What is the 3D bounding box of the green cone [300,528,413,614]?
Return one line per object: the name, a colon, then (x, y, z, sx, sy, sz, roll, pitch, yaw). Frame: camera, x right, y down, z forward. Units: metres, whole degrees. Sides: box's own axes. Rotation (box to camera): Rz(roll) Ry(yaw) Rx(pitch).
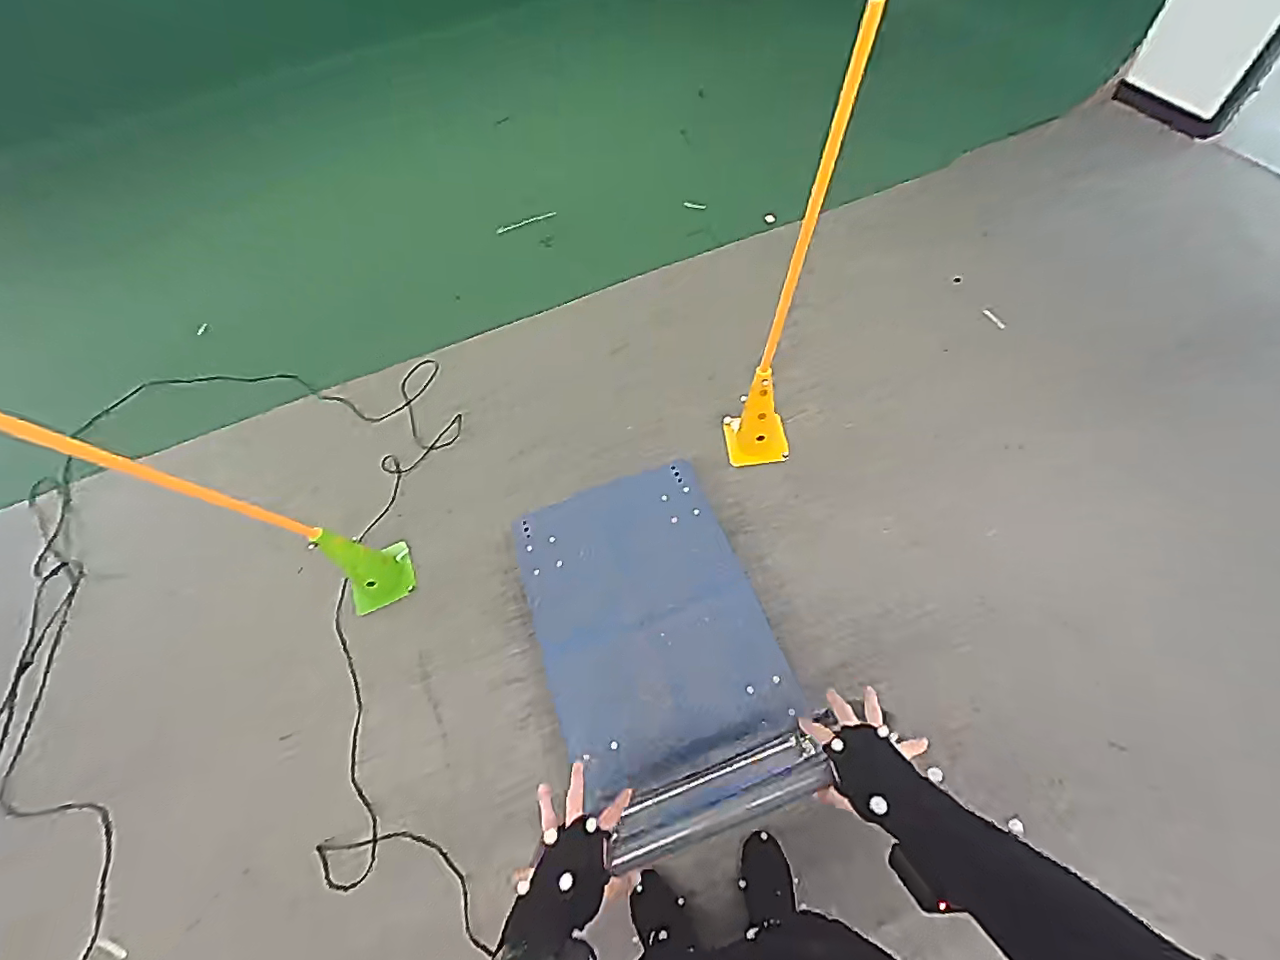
green cone: (-0.874, 0.229, 1.618, 0.202, 0.368, 0.200, -26, 60, -5)
